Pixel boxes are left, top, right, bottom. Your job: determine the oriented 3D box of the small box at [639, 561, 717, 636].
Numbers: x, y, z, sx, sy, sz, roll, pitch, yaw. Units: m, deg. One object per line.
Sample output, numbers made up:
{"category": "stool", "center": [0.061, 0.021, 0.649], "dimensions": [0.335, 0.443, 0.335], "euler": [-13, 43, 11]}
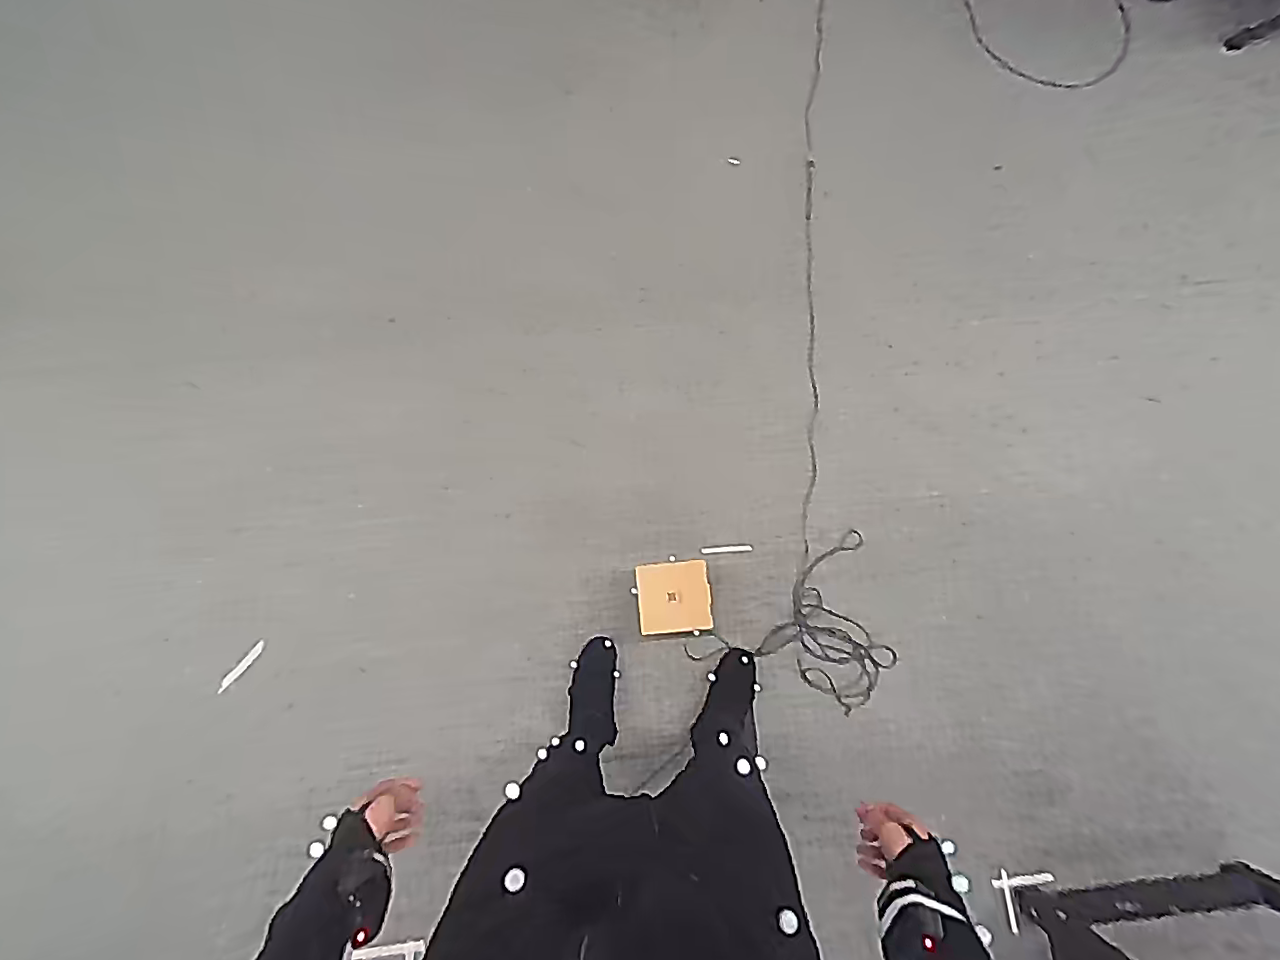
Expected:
{"category": "small box", "center": [0.092, 0.300, 1.371], "dimensions": [0.179, 0.176, 0.168], "euler": [-6, 79, -1]}
